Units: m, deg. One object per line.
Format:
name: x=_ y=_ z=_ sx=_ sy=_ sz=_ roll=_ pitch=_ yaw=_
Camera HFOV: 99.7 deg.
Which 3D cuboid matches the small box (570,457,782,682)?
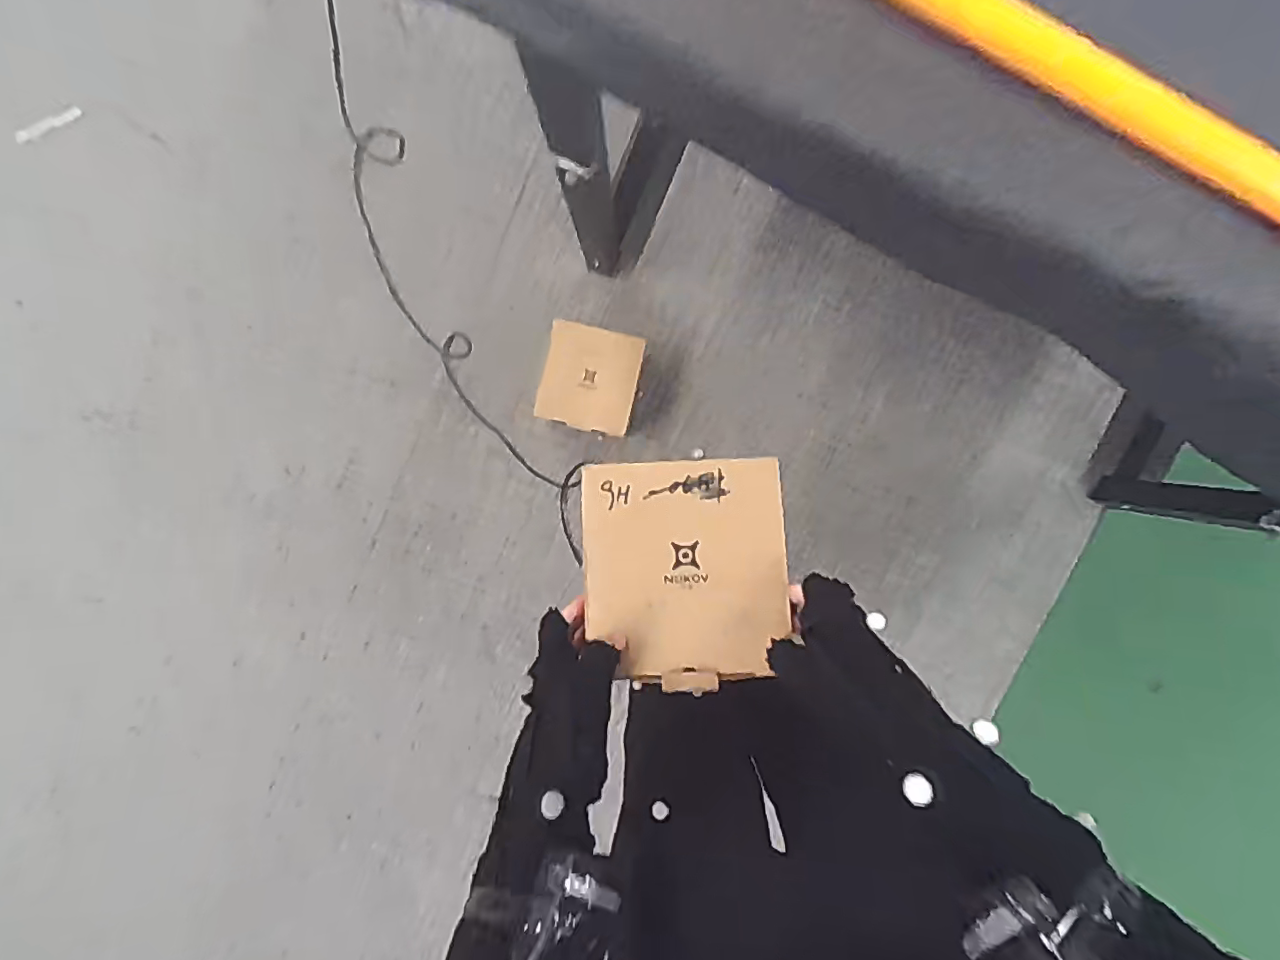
small box: x=0.032 y=0.084 z=0.527 sx=0.168 sy=0.176 sz=0.179 roll=-6 pitch=81 yaw=2
